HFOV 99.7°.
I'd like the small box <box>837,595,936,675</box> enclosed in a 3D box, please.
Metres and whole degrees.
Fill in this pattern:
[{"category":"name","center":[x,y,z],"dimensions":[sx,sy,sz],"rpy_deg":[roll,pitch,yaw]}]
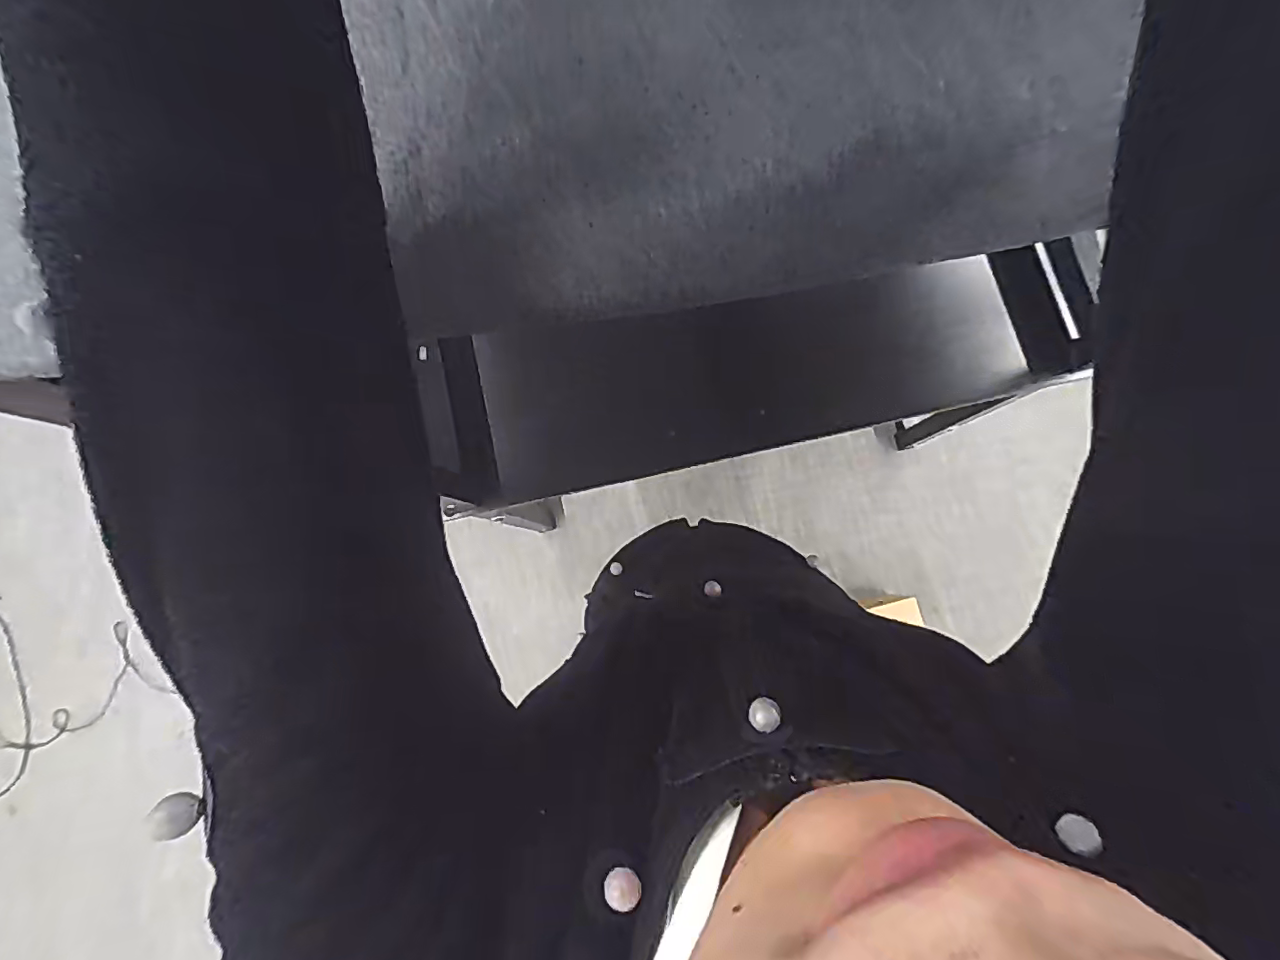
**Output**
[{"category":"small box","center":[0.680,0.425,1.510],"dimensions":[0.179,0.176,0.168],"rpy_deg":[-15,81,1]}]
